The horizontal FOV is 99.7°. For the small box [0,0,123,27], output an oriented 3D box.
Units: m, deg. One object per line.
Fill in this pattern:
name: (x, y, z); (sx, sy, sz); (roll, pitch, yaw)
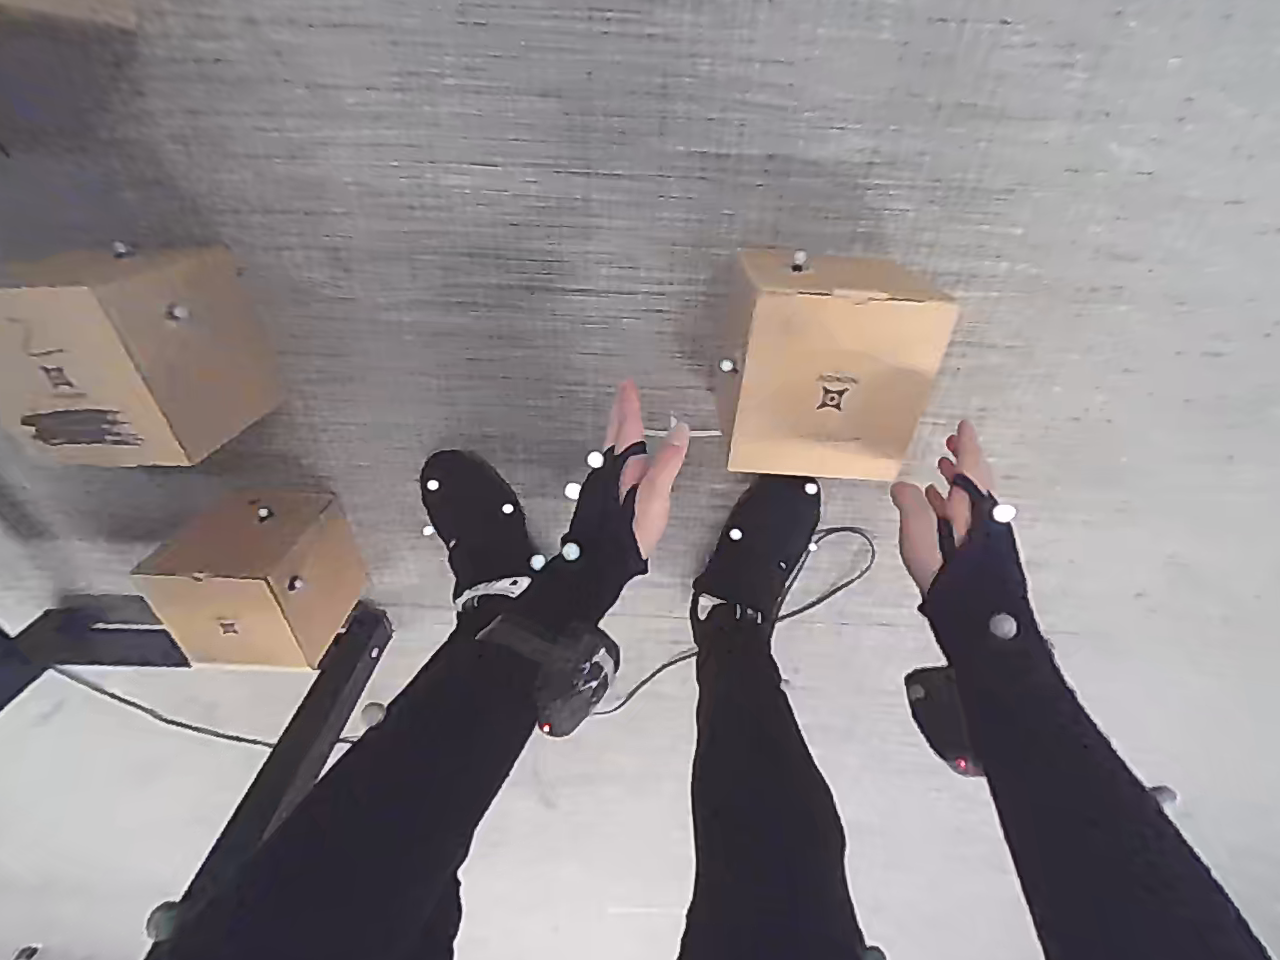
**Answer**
small box: (-0.526, -0.432, 0.366); (0.168, 0.176, 0.179); (4, 123, 0)

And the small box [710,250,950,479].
small box: (0.164, -0.122, 0.539); (0.168, 0.176, 0.179); (4, 123, 1)

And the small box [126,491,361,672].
small box: (-0.514, 0.135, 0.738); (0.168, 0.176, 0.179); (1, 123, 2)
